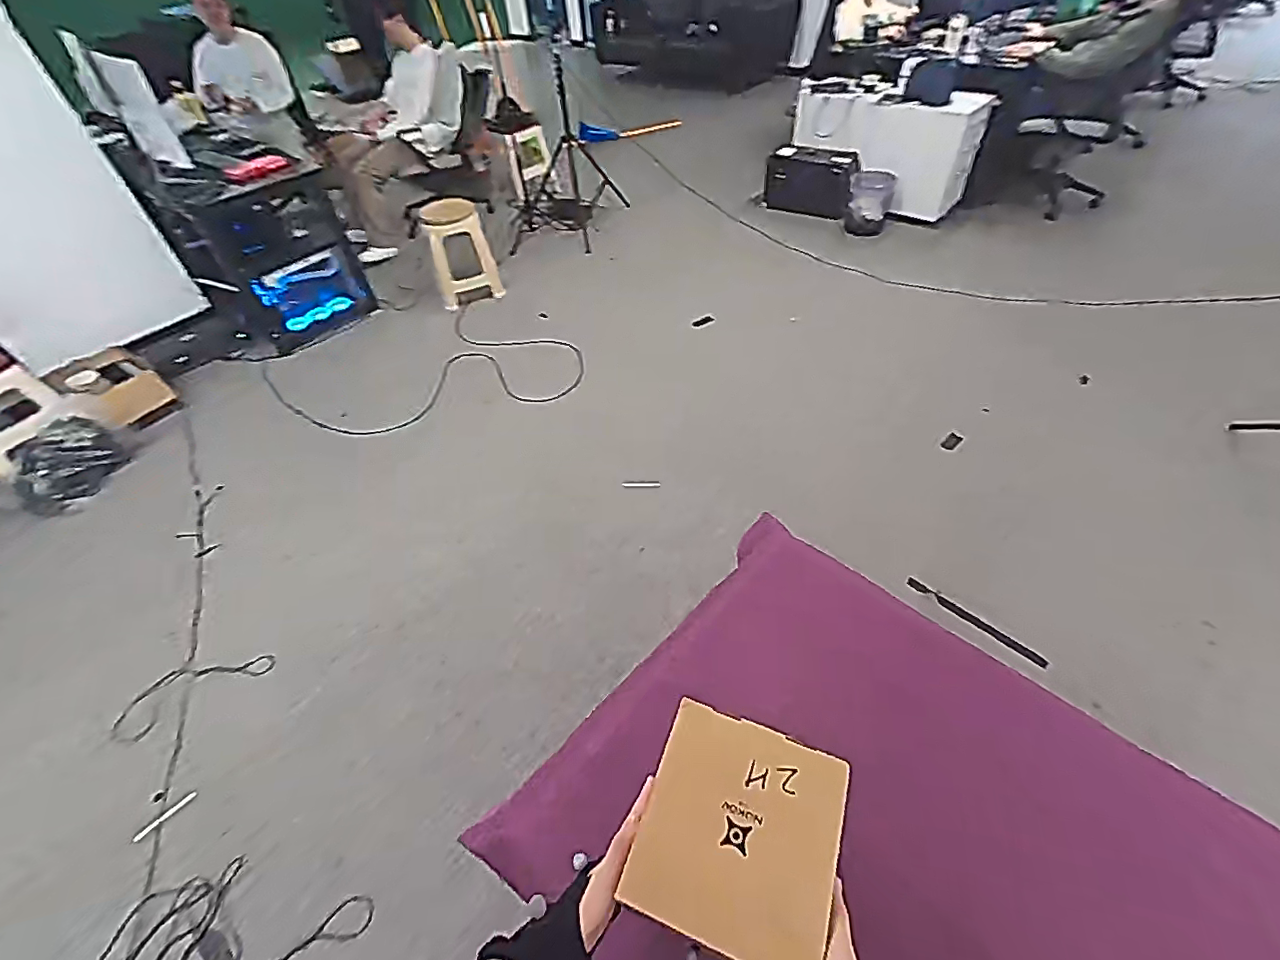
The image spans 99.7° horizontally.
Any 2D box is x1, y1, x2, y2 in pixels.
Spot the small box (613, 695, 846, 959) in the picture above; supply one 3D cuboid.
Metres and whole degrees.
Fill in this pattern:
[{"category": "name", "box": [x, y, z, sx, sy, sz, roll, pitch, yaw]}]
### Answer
[{"category": "small box", "box": [0.086, 0.350, 0.530, 0.168, 0.176, 0.179, 16, 51, 14]}]
